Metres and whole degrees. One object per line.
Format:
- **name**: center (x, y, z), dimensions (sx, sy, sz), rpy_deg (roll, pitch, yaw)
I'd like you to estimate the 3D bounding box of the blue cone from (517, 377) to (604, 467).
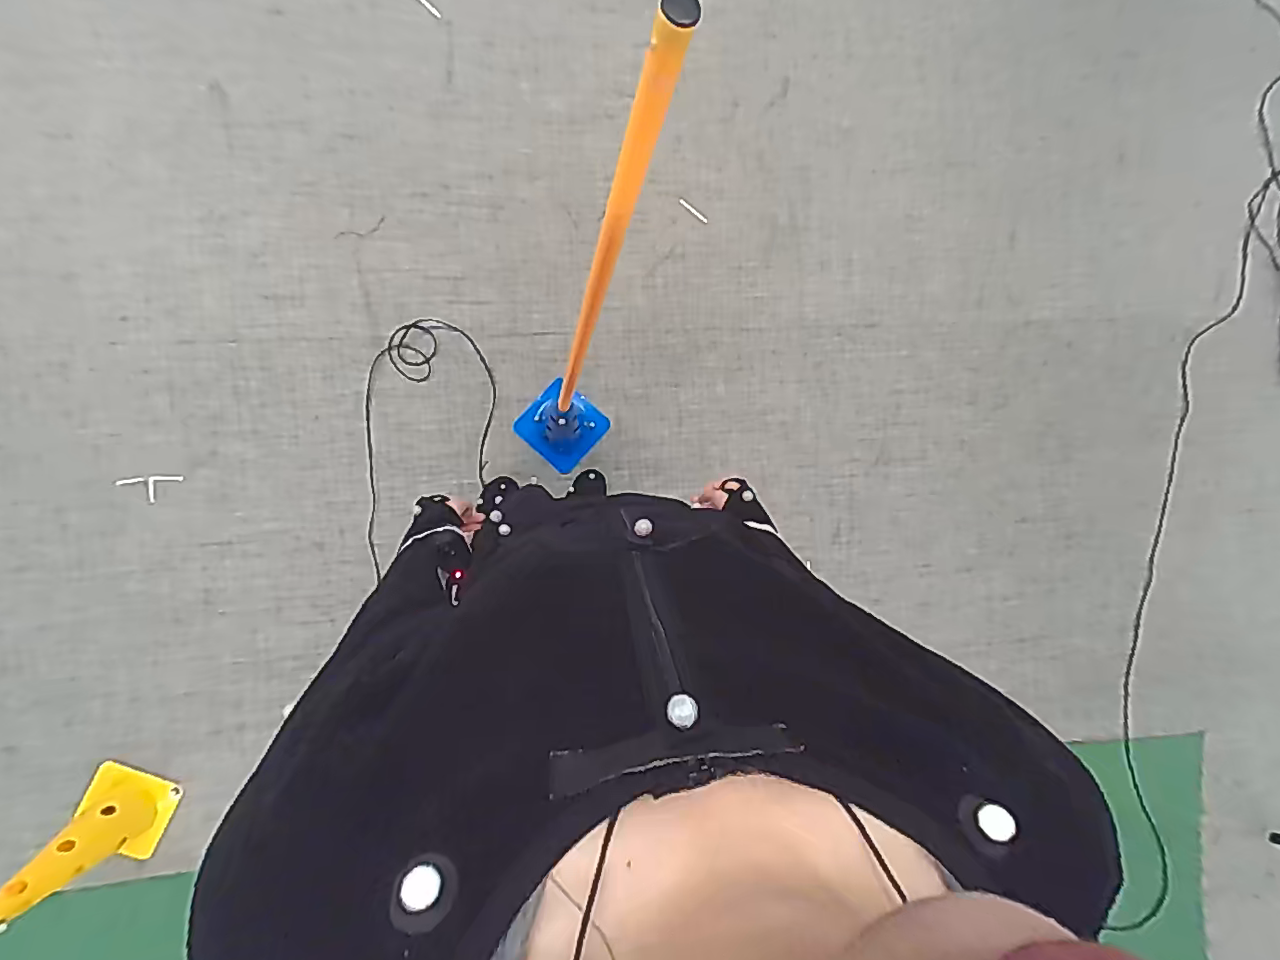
- **blue cone**: center (-0.184, -0.162, 1.284), dimensions (0.192, 0.380, 0.193), rpy_deg (41, 83, -7)
